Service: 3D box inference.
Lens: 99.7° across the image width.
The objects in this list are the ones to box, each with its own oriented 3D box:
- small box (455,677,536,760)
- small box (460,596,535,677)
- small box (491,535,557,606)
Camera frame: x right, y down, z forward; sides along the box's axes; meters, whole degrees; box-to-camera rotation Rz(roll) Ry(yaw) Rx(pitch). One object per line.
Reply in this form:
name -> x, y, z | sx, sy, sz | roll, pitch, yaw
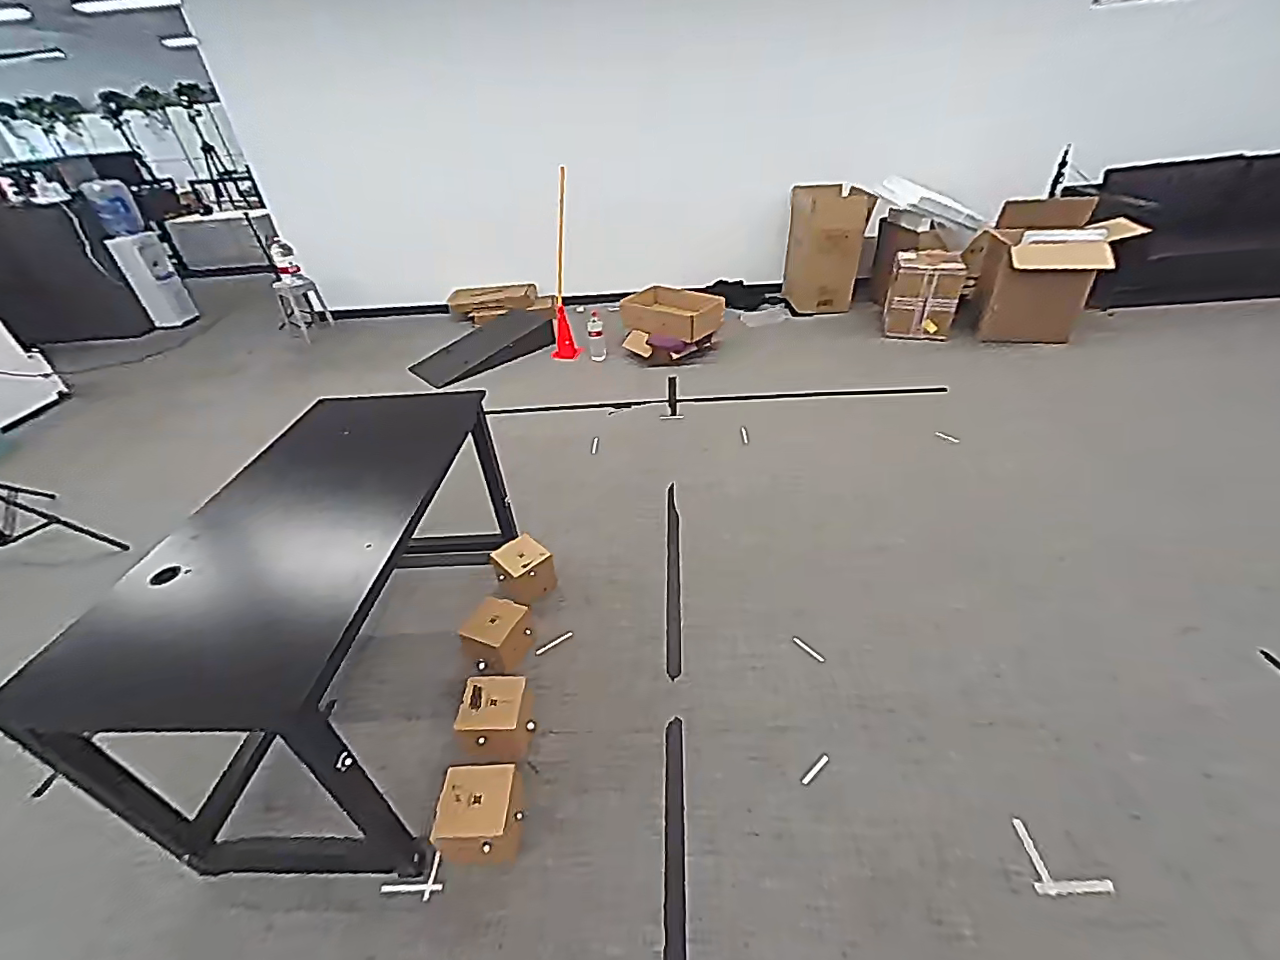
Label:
small box -> -0.414, 0.699, 1.582 | 0.179, 0.176, 0.168 | -2, 36, 2
small box -> -0.471, 0.529, 1.825 | 0.168, 0.176, 0.179 | 10, 40, 21
small box -> -0.438, 0.347, 2.065 | 0.168, 0.176, 0.179 | -33, 44, -32
